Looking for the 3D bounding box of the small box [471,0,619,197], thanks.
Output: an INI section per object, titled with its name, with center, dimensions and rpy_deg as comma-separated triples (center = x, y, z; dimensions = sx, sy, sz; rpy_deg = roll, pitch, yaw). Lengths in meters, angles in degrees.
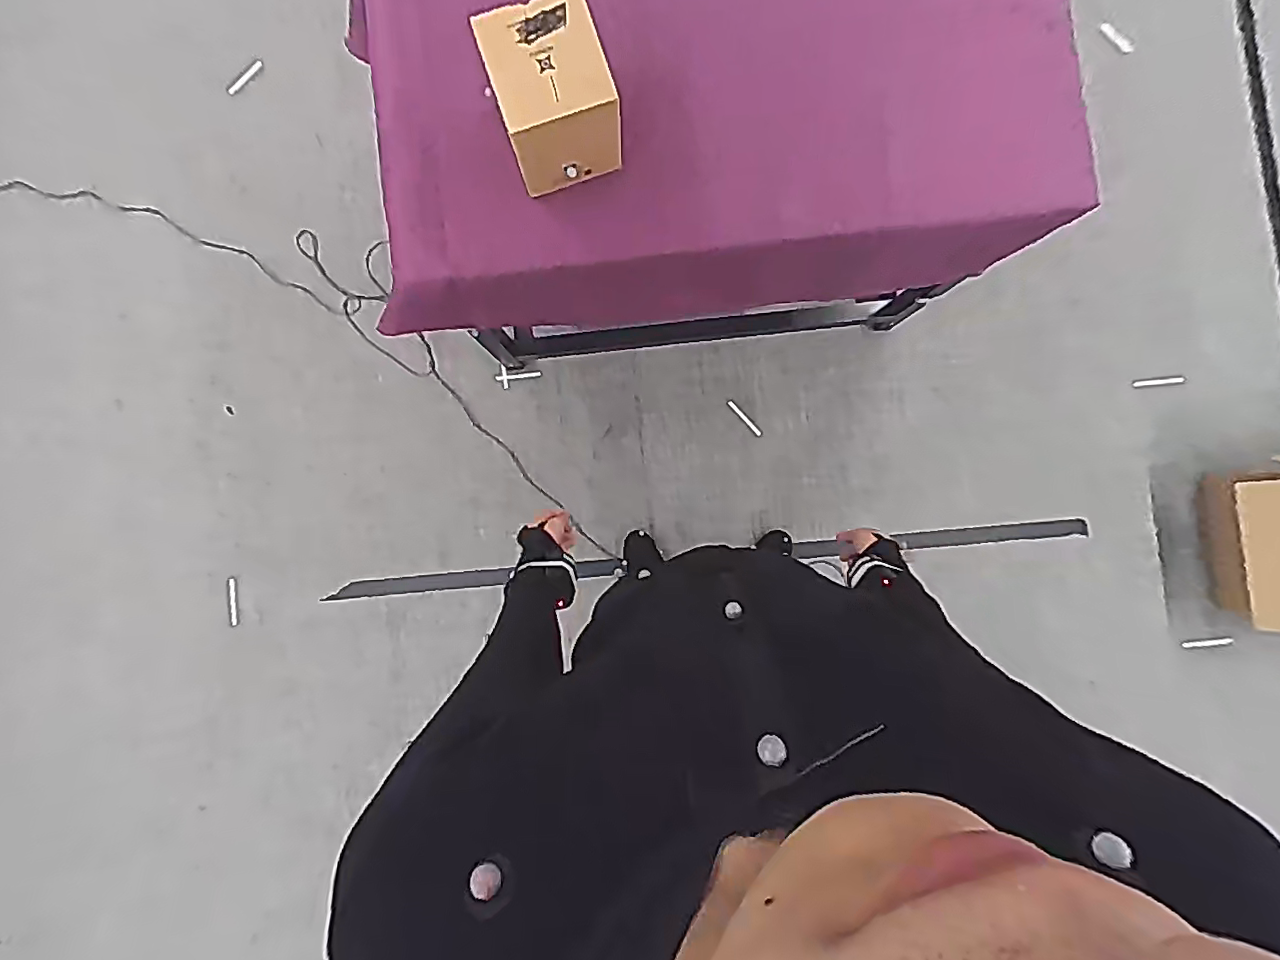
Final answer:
[small box]
center = -0.136, -0.582, 0.836
dimensions = 0.168, 0.176, 0.179
rpy_deg = -19, 89, -1
